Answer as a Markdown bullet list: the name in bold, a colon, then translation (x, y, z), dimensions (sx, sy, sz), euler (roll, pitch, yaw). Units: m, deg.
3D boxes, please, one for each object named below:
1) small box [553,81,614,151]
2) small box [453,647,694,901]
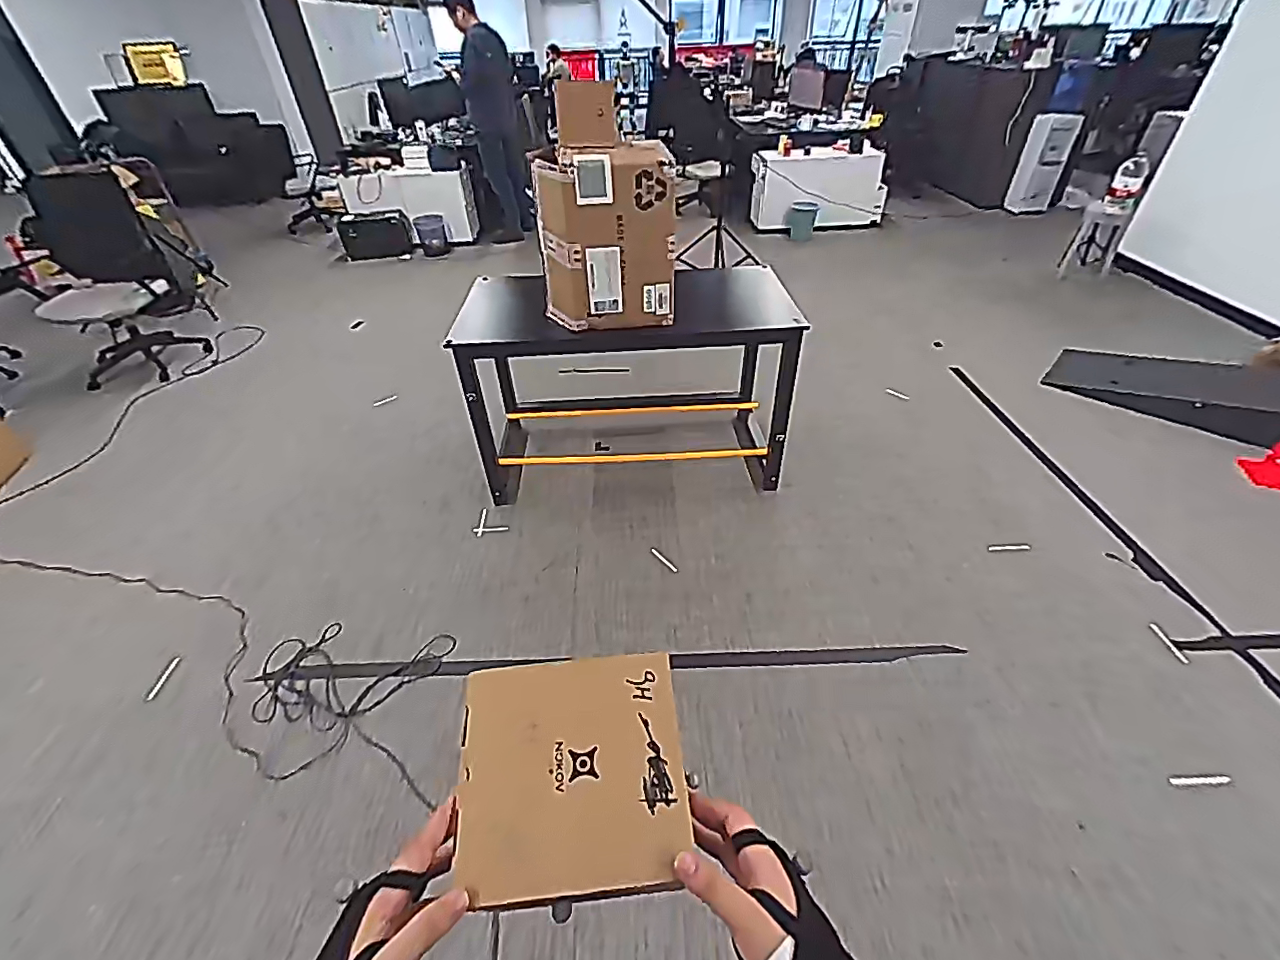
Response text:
- **small box**: translation (-0.172, -1.134, 1.682), dimensions (0.179, 0.176, 0.168), euler (-4, 37, -4)
- **small box**: translation (-0.051, 0.271, 0.494), dimensions (0.179, 0.176, 0.168), euler (-4, 51, -3)
